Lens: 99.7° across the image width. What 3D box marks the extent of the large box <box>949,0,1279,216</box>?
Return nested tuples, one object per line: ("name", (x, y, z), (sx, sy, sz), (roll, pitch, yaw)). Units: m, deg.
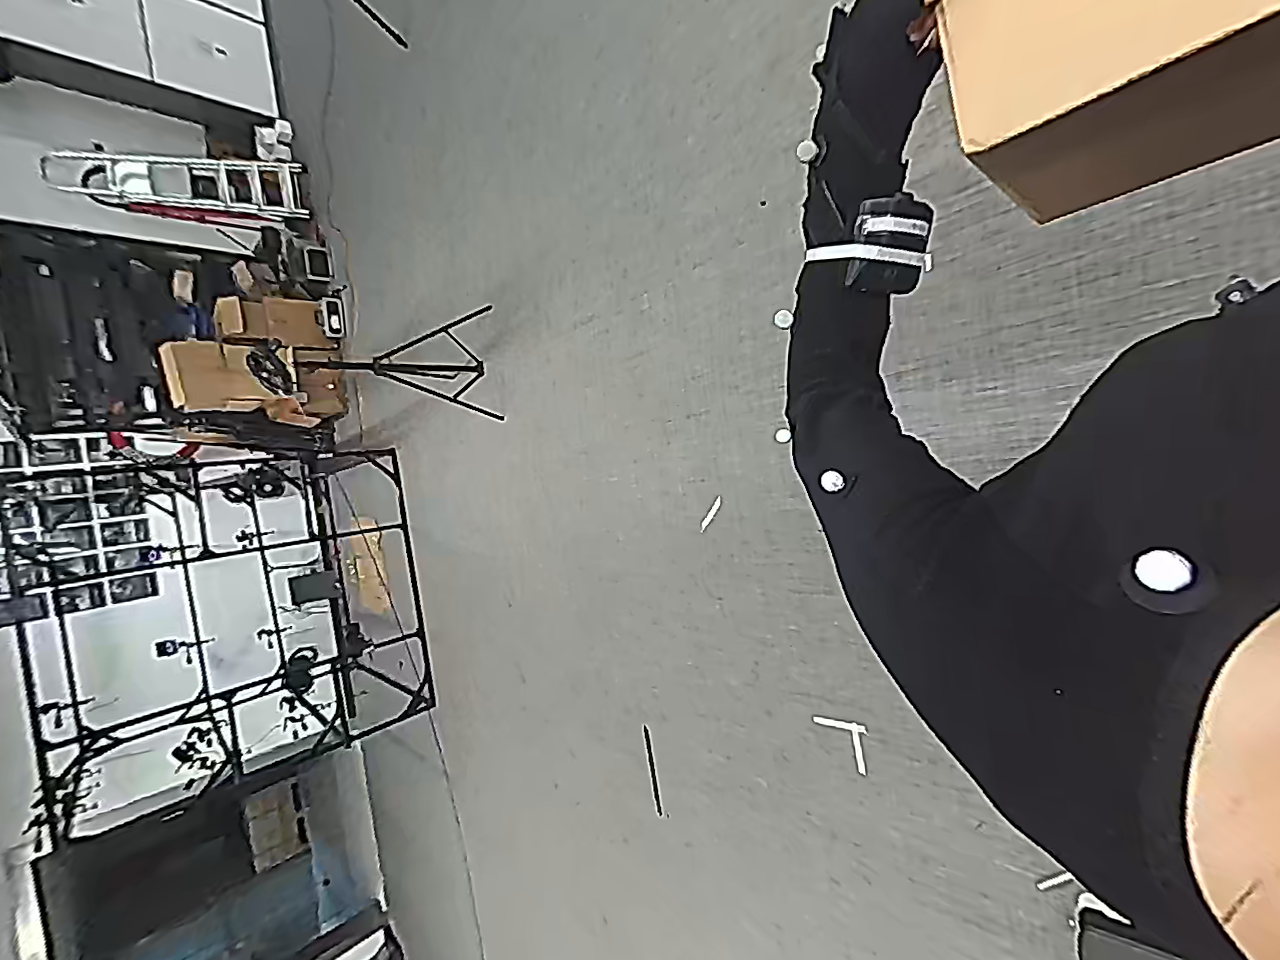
("large box", (0.444, -0.434, 0.344), (0.408, 0.320, 0.320), (-10, 94, 45))
